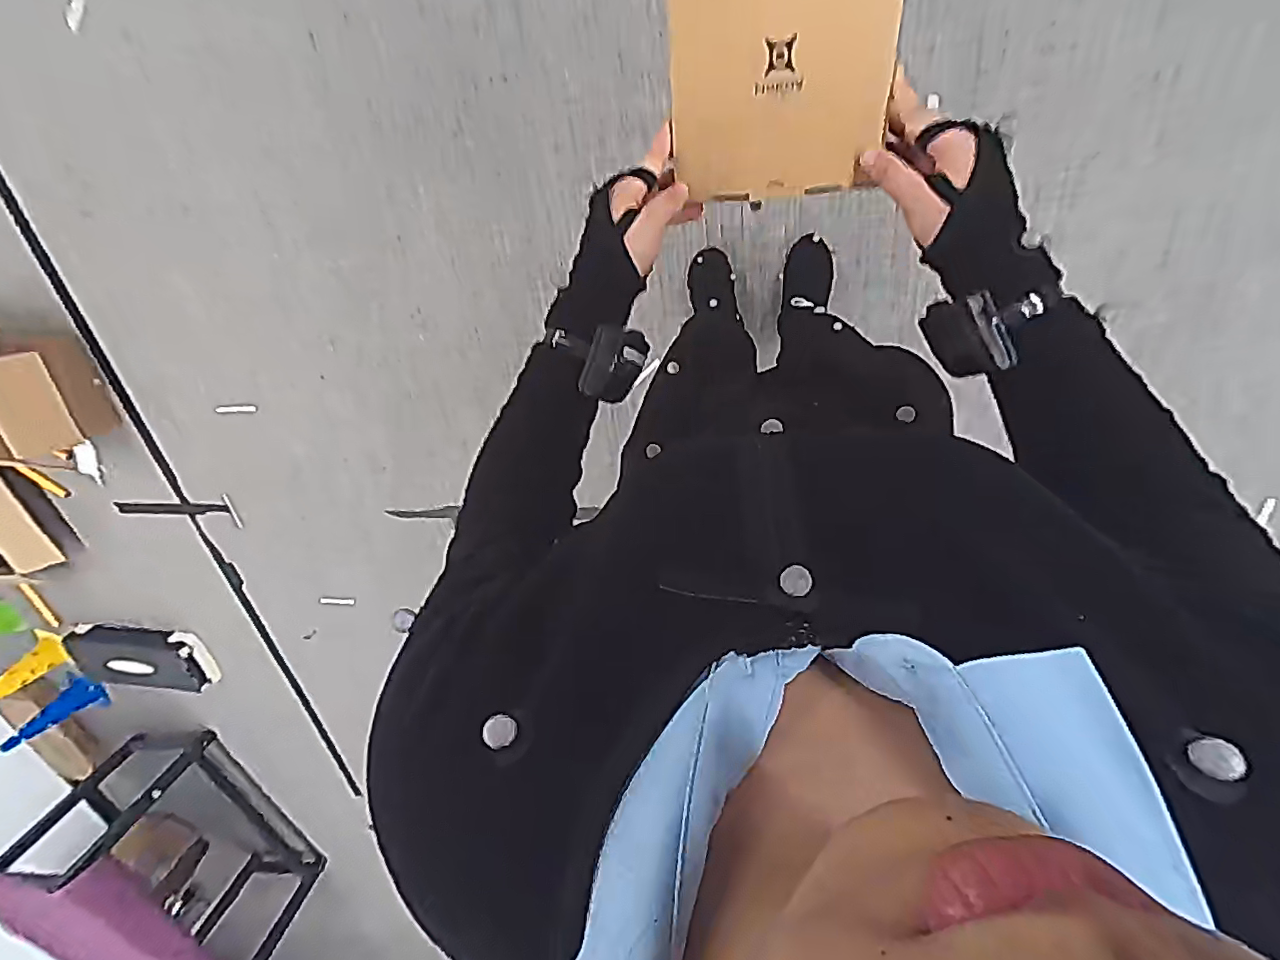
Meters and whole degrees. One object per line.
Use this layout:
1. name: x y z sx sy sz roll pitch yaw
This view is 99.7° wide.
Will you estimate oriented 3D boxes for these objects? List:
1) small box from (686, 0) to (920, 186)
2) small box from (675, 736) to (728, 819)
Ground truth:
1. small box: 0.125 -0.357 0.462 0.168 0.176 0.179 0 119 10
2. small box: 0.209 0.996 1.815 0.168 0.176 0.179 1 118 9
